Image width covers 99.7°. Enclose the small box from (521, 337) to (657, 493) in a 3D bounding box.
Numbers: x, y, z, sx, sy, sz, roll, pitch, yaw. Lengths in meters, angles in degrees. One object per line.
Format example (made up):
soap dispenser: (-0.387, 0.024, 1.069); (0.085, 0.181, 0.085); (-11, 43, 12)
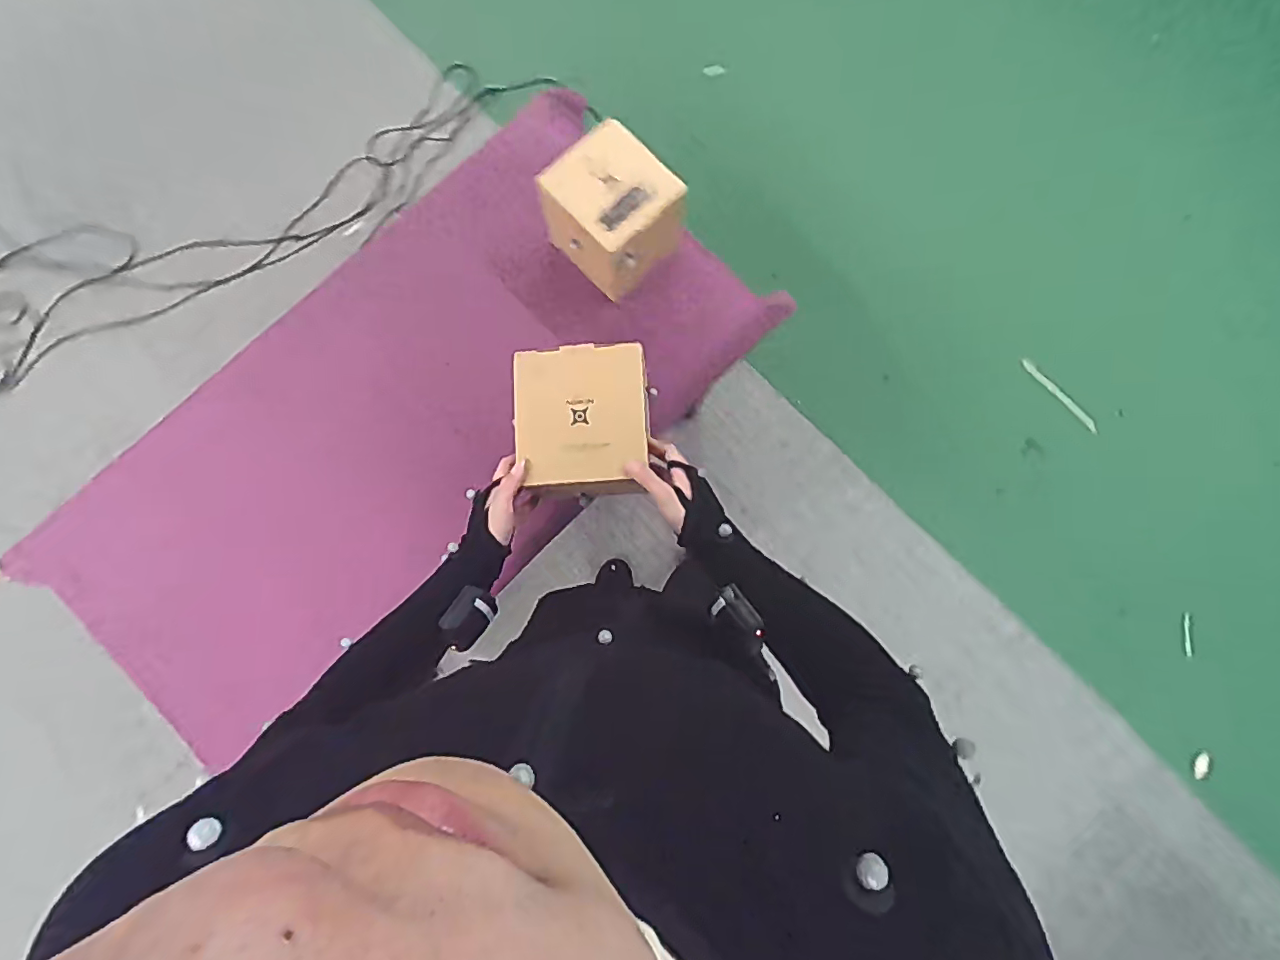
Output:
small box: (-0.062, -0.080, 0.745); (0.168, 0.176, 0.179); (-3, 83, 3)
